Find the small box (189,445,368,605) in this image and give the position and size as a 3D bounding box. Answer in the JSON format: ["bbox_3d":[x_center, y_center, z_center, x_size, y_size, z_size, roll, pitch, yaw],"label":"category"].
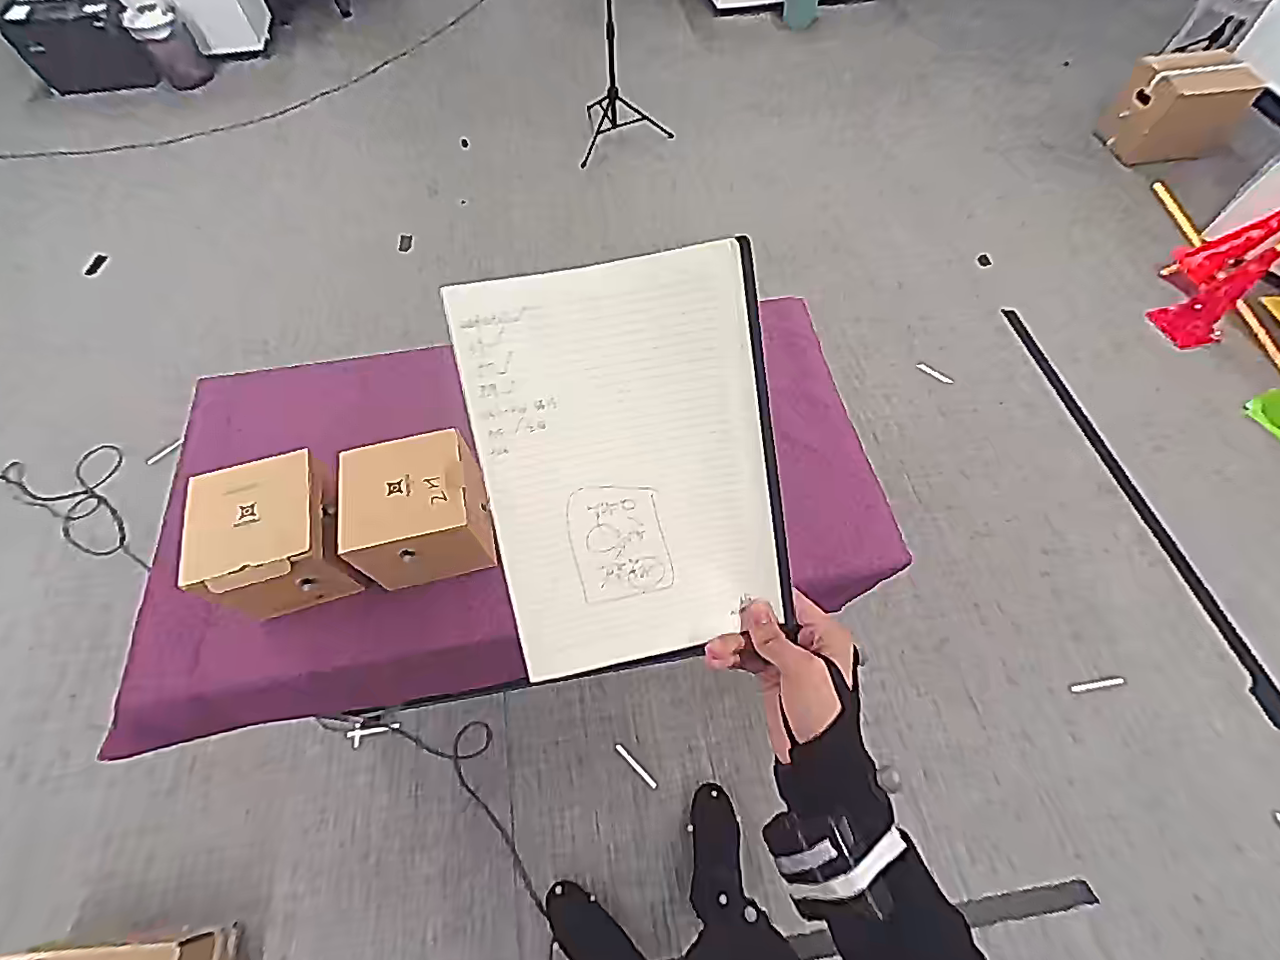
[{"bbox_3d":[-0.533,0.078,0.820,0.168,0.176,0.179,-15,62,-8],"label":"small box"}]
